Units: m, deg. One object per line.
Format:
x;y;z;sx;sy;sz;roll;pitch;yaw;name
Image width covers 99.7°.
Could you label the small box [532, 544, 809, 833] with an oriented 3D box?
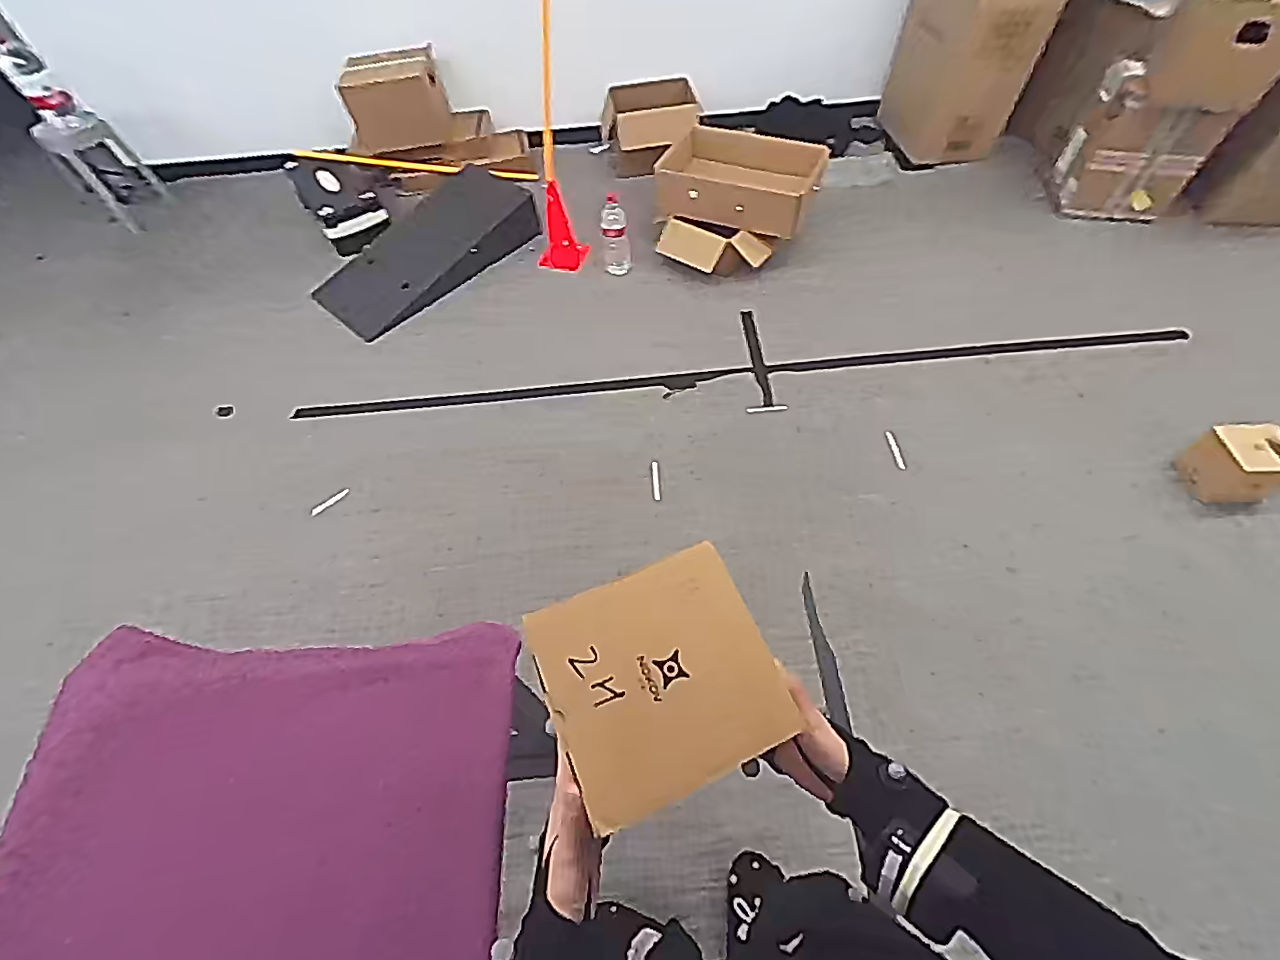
0.015;0.182;0.494;0.179;0.176;0.168;-20;68;-12;small box
